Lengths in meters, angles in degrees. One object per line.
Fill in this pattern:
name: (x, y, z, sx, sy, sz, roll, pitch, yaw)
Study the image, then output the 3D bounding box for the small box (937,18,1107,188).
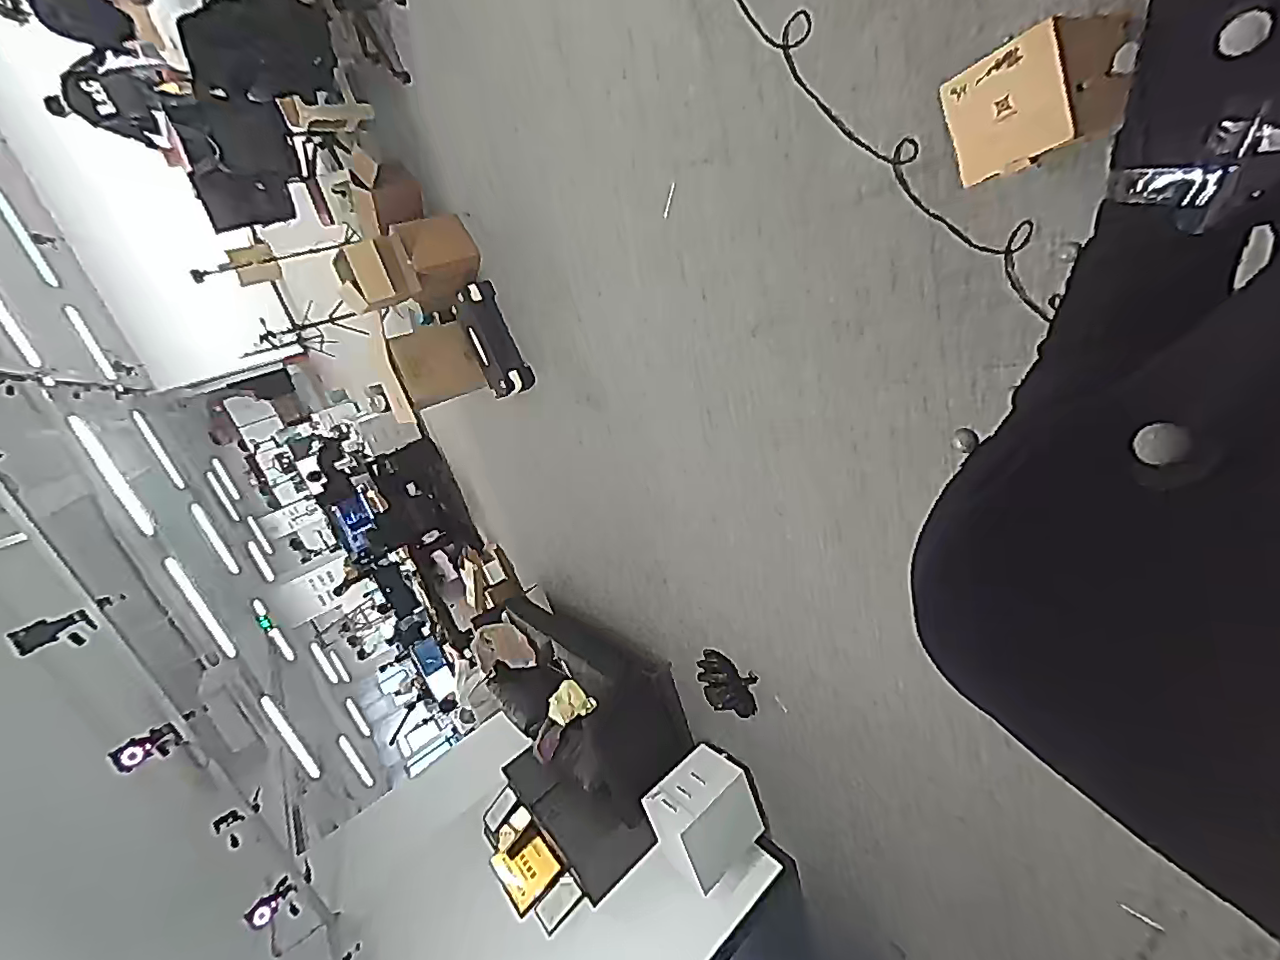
small box: (0.643, -0.631, 0.909, 0.168, 0.176, 0.179, -7, 110, 59)
